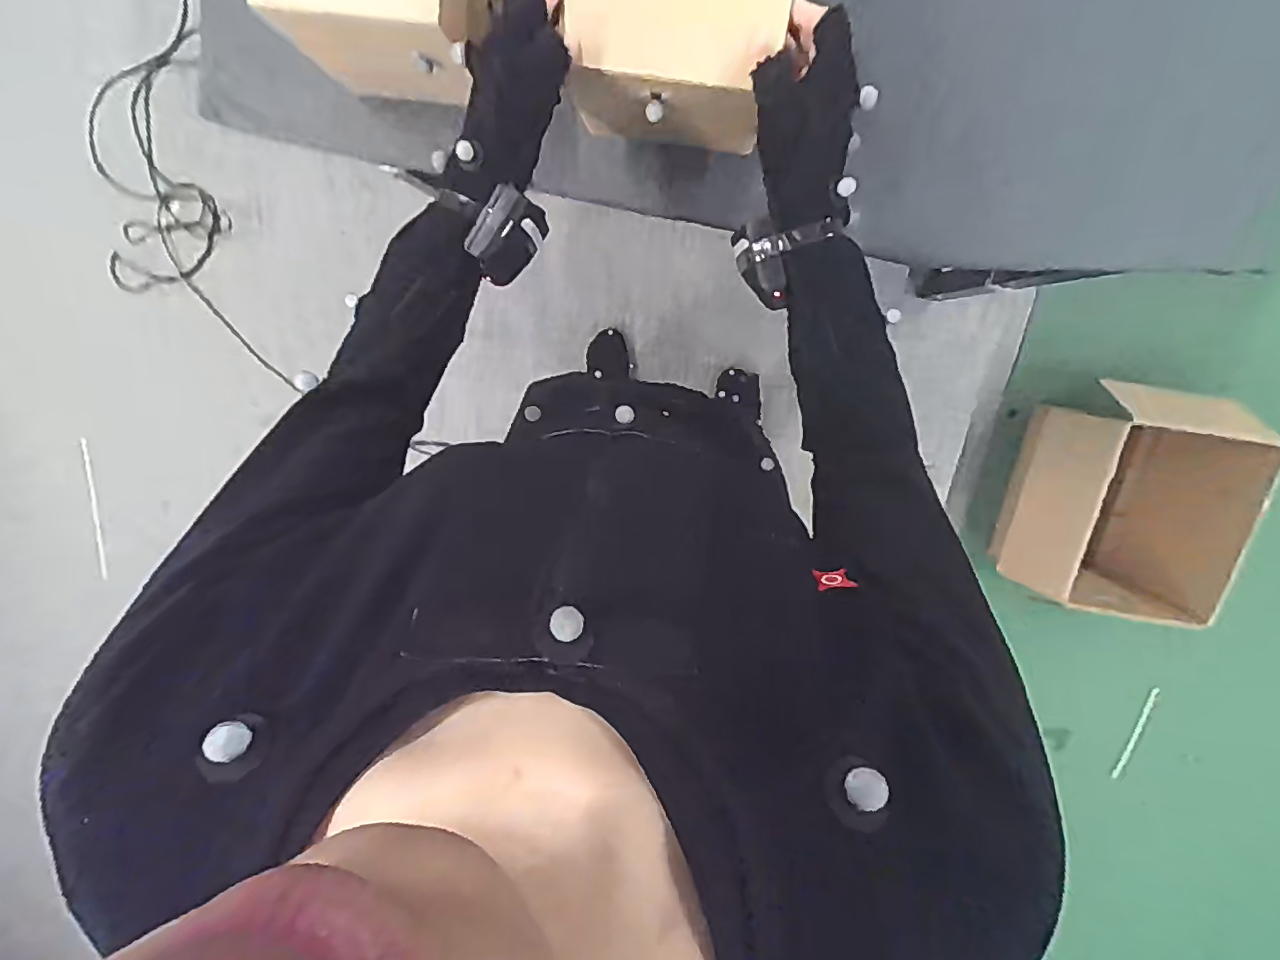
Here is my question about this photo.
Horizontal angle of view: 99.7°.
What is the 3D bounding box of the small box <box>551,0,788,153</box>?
[{"bbox_3d":[0.034,-0.408,0.475,0.179,0.176,0.168,10,107,4],"label":"small box"}]
